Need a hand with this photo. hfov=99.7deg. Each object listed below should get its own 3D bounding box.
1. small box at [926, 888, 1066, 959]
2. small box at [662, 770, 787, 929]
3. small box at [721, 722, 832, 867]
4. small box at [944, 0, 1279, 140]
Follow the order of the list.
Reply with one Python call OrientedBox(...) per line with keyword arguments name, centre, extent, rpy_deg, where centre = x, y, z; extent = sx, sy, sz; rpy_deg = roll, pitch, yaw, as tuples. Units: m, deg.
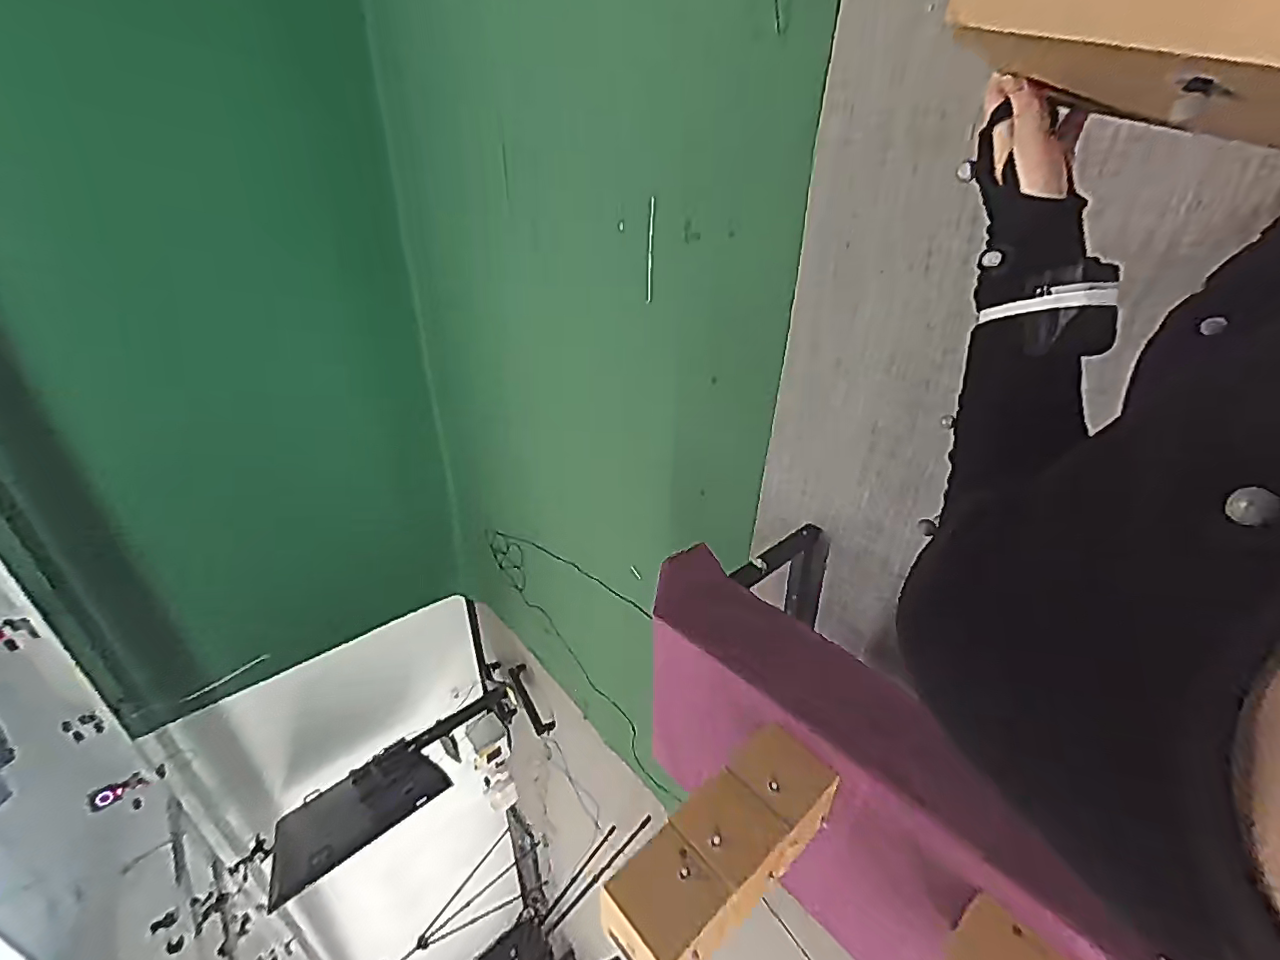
OrientedBox(name="small box", centre=(0.578, 0.838, 0.891), extent=(0.168, 0.176, 0.179), rpy_deg=(30, 131, 40))
OrientedBox(name="small box", centre=(0.166, 0.721, 1.081), extent=(0.179, 0.176, 0.168), rpy_deg=(28, 129, 40))
OrientedBox(name="small box", centre=(0.290, 0.671, 1.173), extent=(0.179, 0.176, 0.168), rpy_deg=(30, 130, 41))
OrientedBox(name="small box", centre=(0.312, -0.298, 0.277), extent=(0.179, 0.176, 0.168), rpy_deg=(47, 132, 33))
